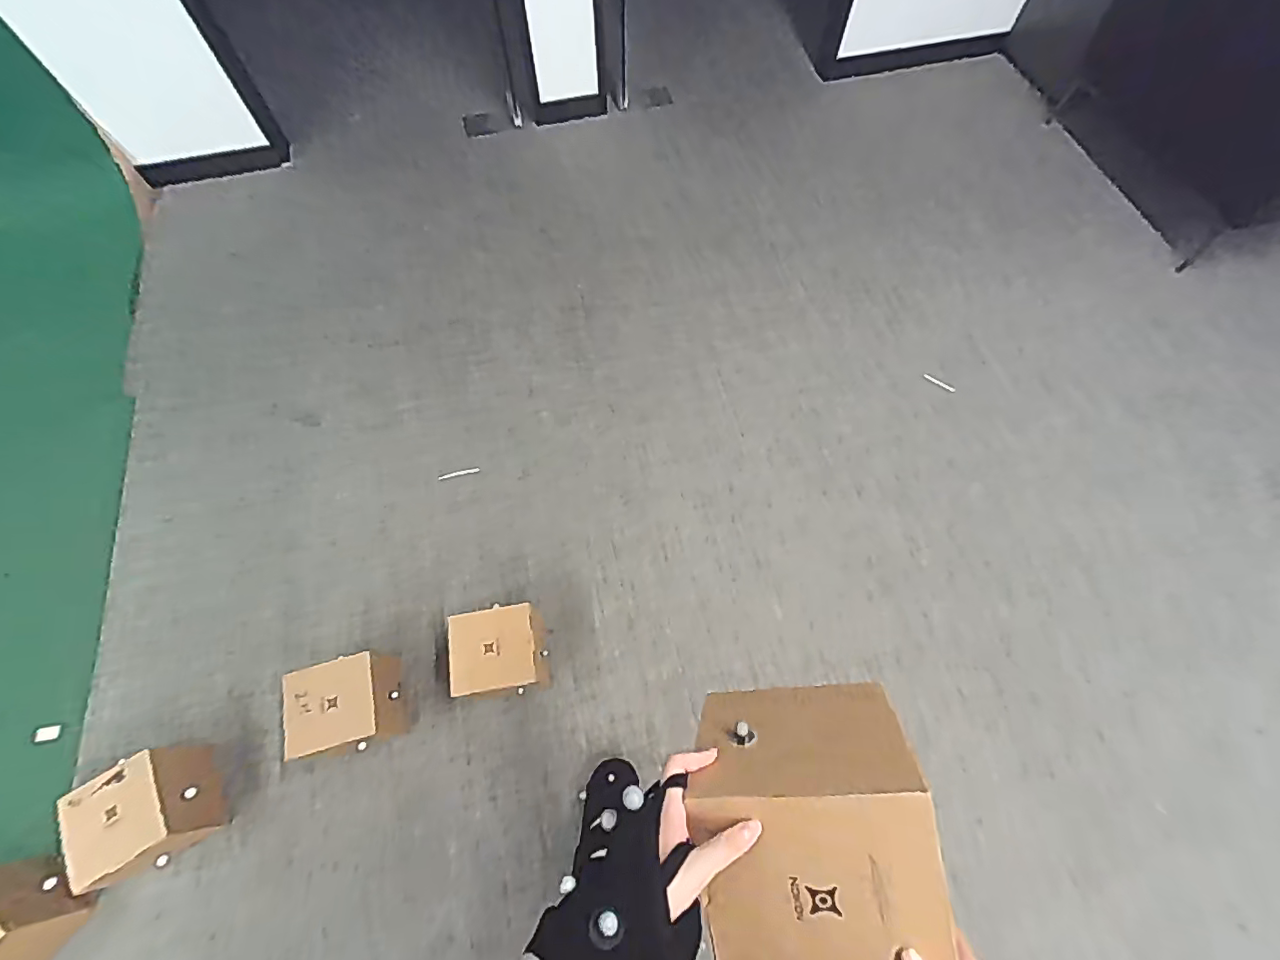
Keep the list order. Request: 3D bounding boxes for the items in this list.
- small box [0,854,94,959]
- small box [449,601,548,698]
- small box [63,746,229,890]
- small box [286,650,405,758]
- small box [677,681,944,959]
[{"bbox_3d":[-1.190,0.833,0.989,0.168,0.176,0.179,28,68,13],"label":"small box"},{"bbox_3d":[-0.309,0.380,1.200,0.179,0.176,0.168,-9,66,-5],"label":"small box"},{"bbox_3d":[-0.966,0.652,1.073,0.168,0.176,0.179,-30,69,-13],"label":"small box"},{"bbox_3d":[-0.617,0.476,1.152,0.179,0.176,0.168,-15,65,-7],"label":"small box"},{"bbox_3d":[0.143,0.295,0.477,0.179,0.176,0.168,-10,94,14],"label":"small box"}]
